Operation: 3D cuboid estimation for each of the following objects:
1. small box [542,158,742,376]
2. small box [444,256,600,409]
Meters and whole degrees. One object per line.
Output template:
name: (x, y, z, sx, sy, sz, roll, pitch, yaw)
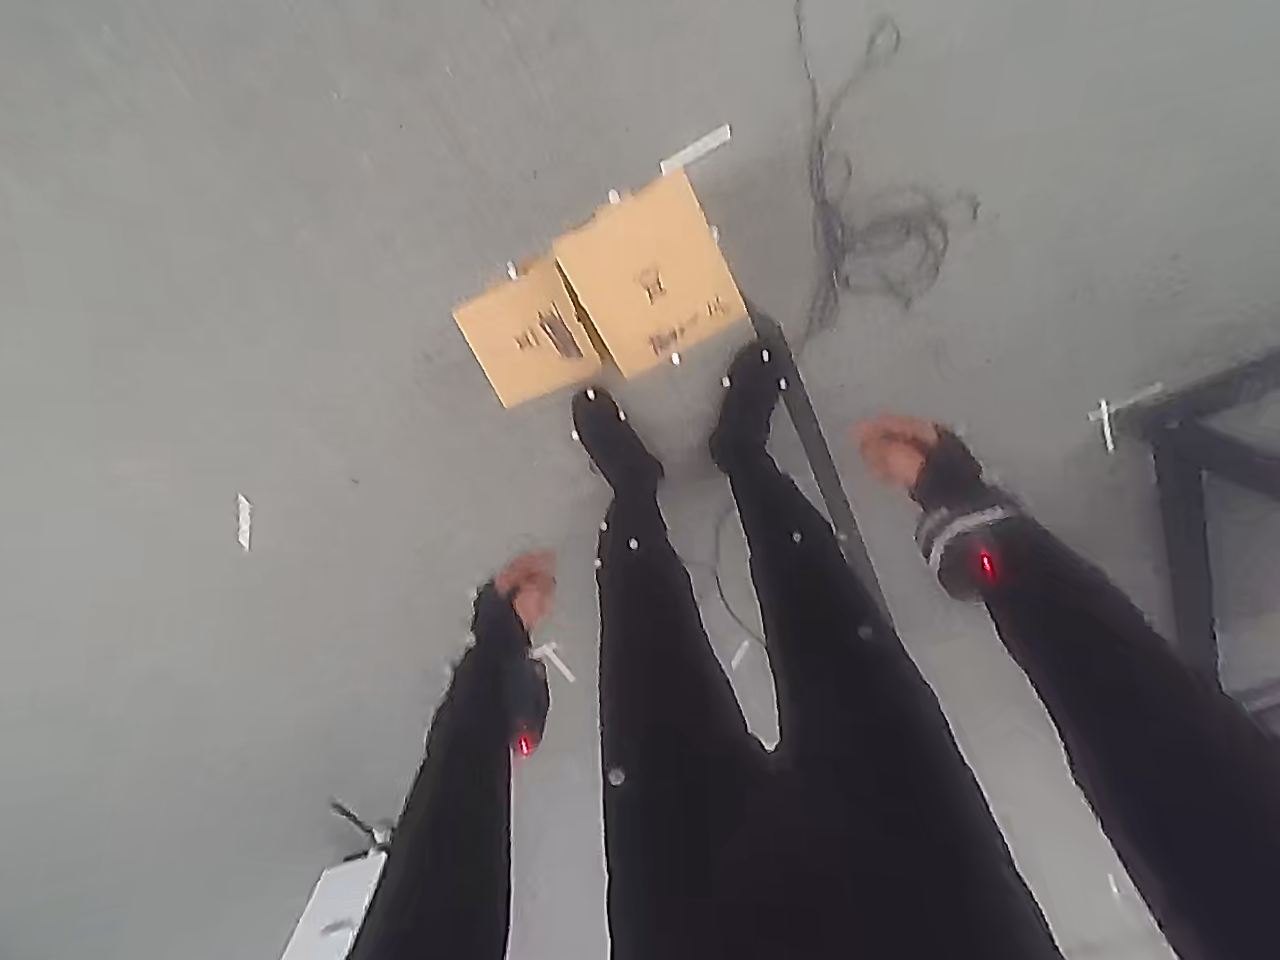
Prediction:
small box: (0.005, -0.259, 0.667, 0.168, 0.176, 0.179, -26, 113, 14)
small box: (-0.171, -0.243, 0.861, 0.179, 0.176, 0.168, -21, 115, 12)
